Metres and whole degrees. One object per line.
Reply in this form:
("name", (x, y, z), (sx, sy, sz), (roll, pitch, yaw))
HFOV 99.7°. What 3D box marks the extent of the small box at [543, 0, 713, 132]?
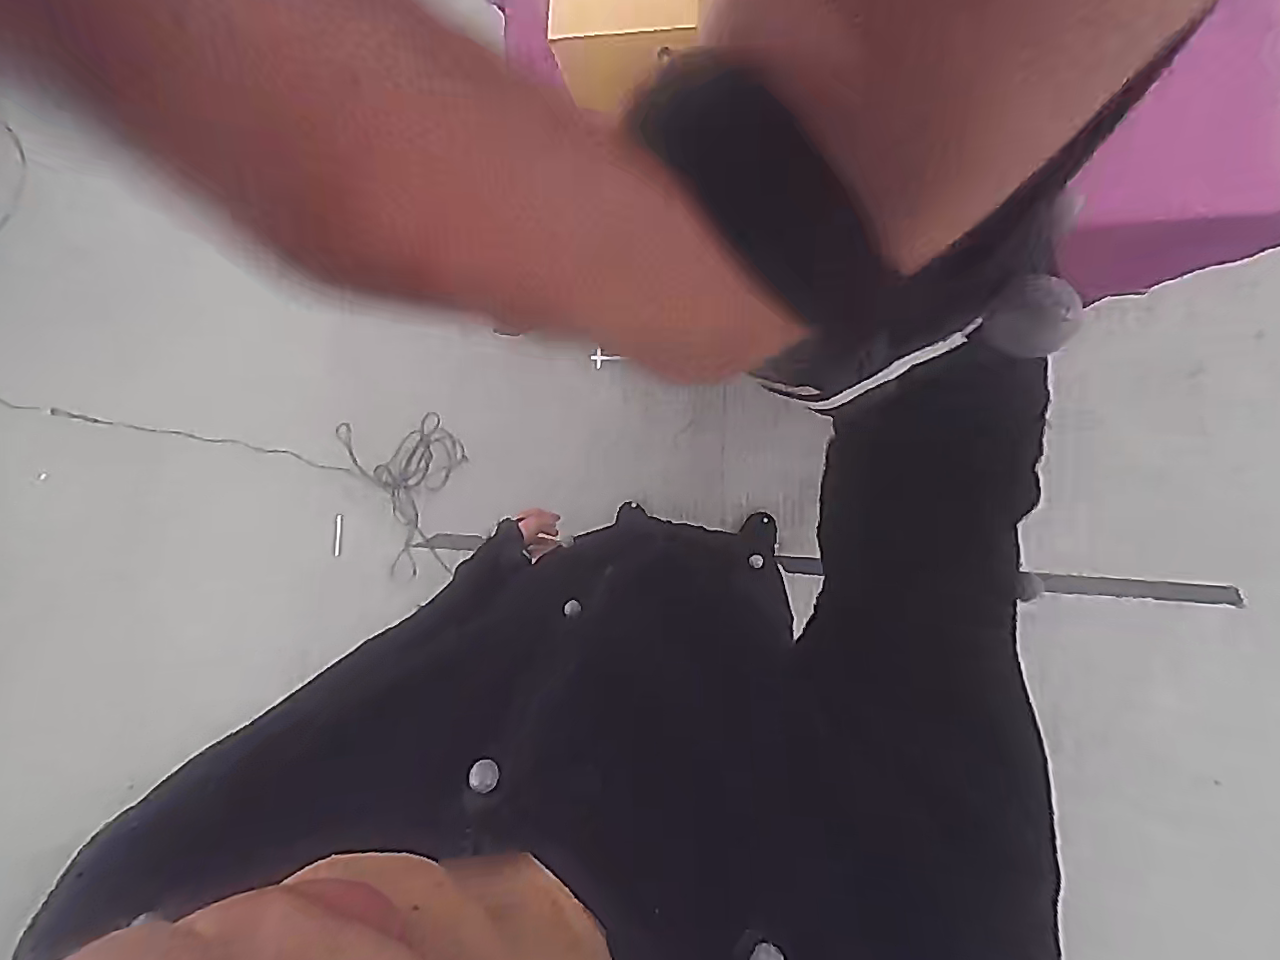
("small box", (-0.005, -0.566, 0.674), (0.179, 0.176, 0.168), (3, 89, 10))
